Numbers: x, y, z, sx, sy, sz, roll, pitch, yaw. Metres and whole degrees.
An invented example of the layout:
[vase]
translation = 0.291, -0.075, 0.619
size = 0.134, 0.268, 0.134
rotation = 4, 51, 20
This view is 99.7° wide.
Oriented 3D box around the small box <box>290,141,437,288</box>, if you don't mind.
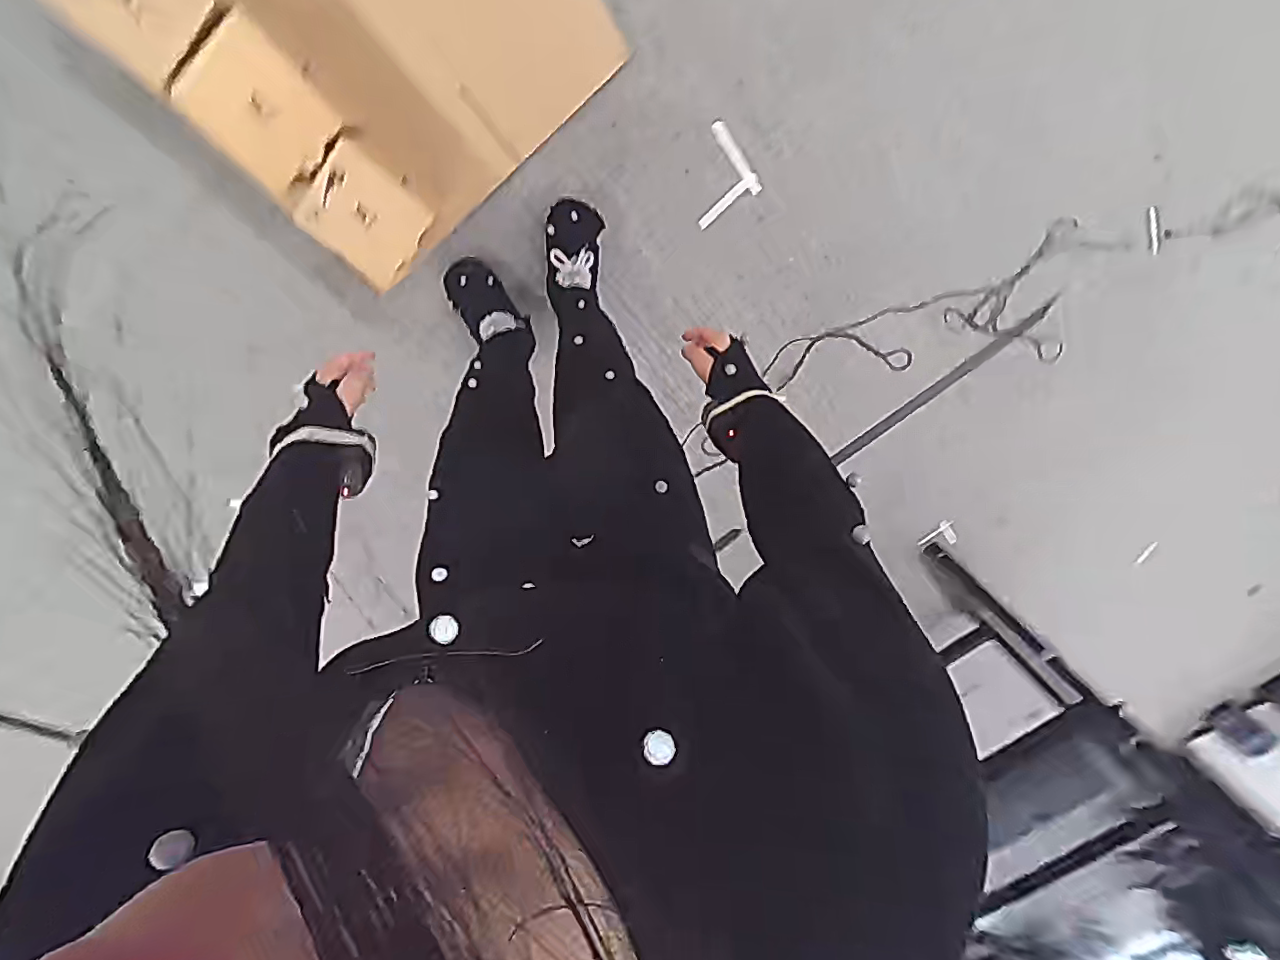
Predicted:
[small box]
translation = -0.494, -0.493, 0.994
size = 0.179, 0.176, 0.168
rotation = 33, 109, -32
